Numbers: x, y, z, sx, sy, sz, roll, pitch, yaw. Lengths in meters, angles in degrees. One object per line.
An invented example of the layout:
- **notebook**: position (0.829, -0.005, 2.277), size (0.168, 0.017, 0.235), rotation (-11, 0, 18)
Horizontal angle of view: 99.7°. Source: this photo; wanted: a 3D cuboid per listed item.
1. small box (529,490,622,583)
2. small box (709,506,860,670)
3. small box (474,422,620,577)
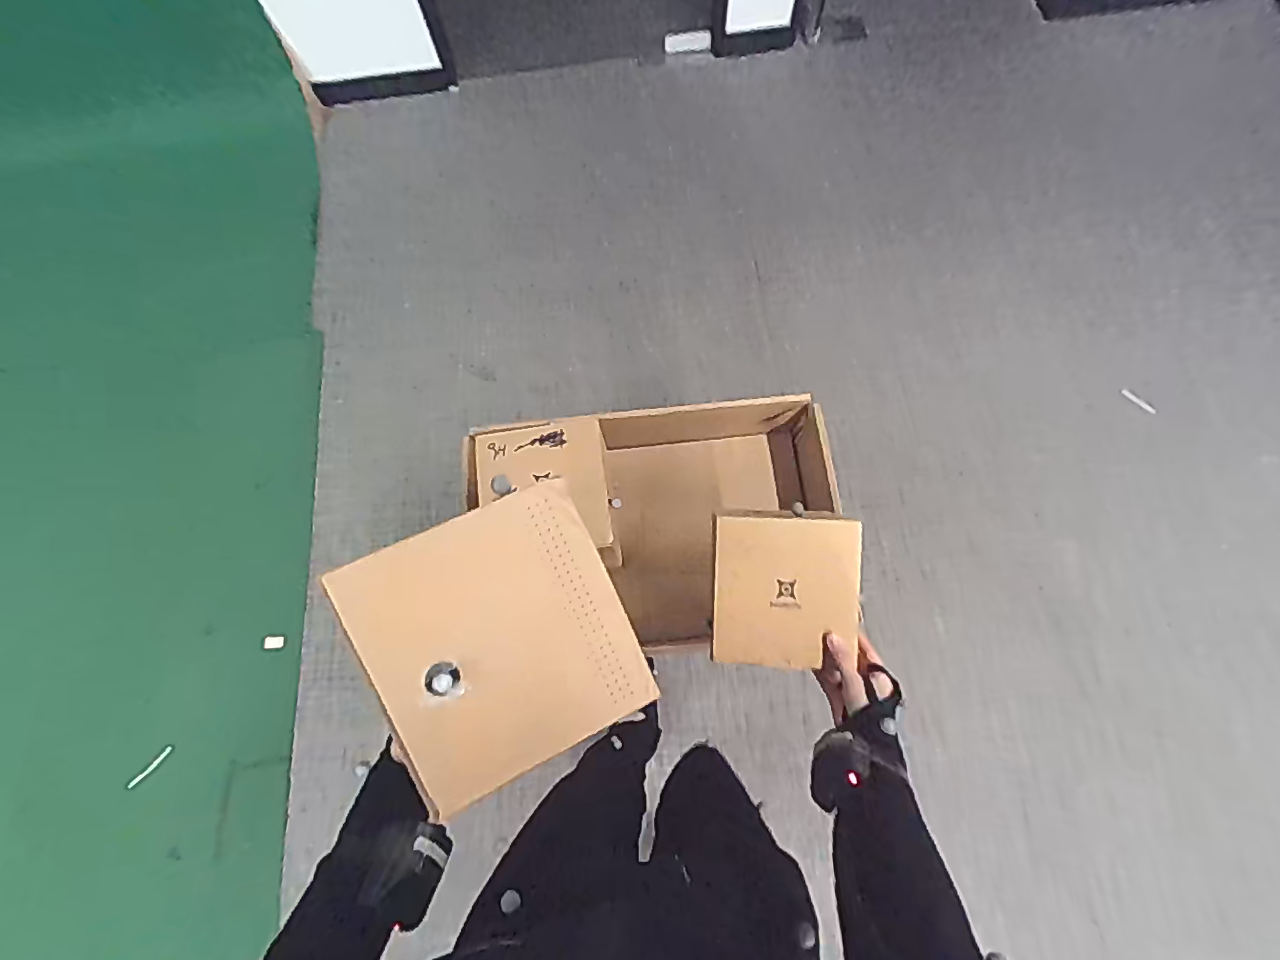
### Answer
- **small box**: position (-0.126, 0.072, 0.924), size (0.168, 0.176, 0.179), rotation (-9, 74, 0)
- **small box**: position (0.175, 0.126, 0.698), size (0.168, 0.176, 0.179), rotation (1, 91, 8)
- **small box**: position (-0.123, 0.038, 0.762), size (0.168, 0.176, 0.179), rotation (-8, 74, 0)
